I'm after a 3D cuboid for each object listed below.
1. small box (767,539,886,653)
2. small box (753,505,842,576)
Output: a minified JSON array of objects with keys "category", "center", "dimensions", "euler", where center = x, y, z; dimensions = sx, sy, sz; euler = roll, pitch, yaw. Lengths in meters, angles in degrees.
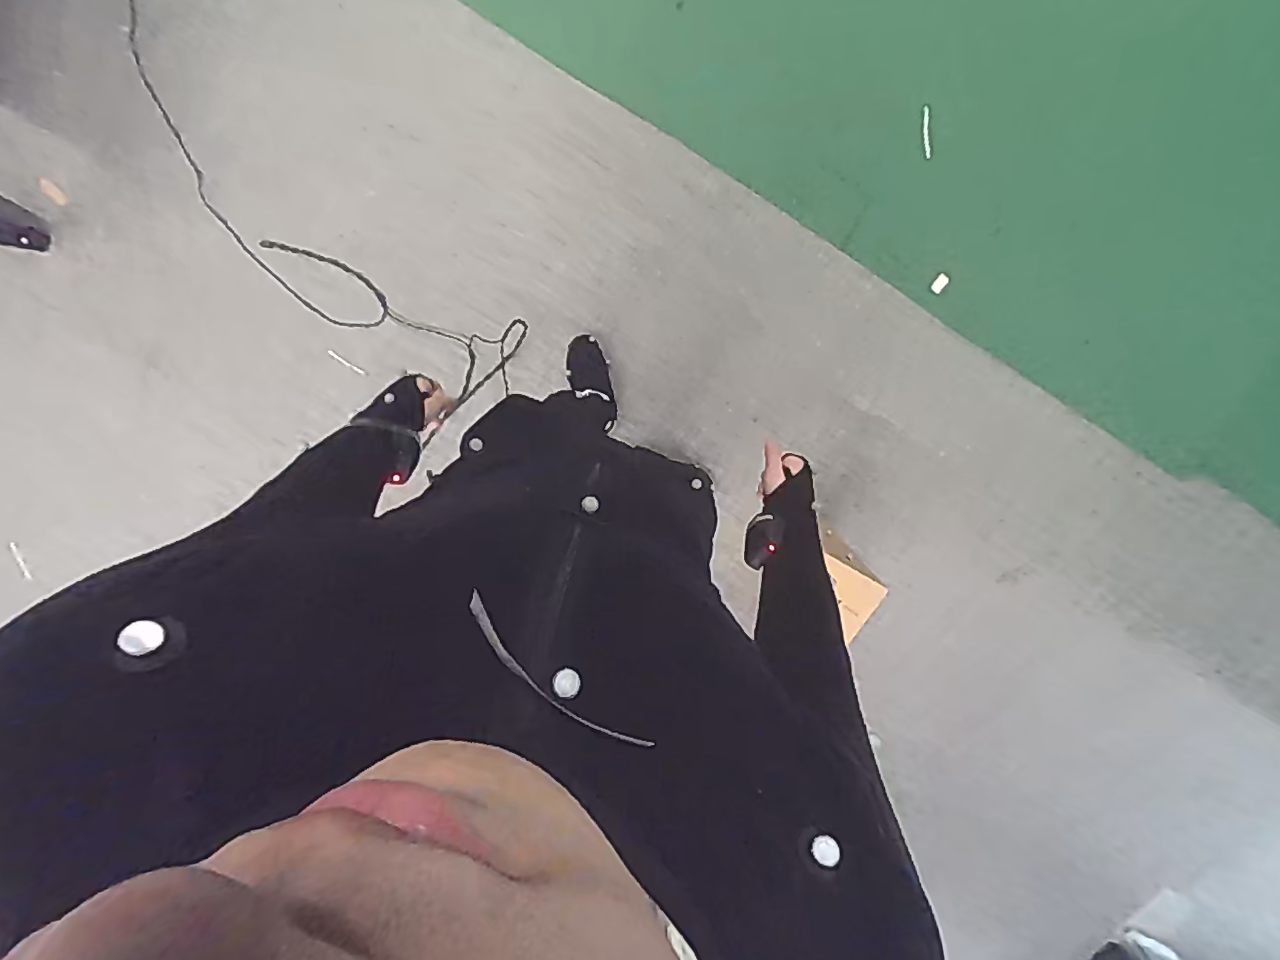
[{"category":"small box","center":[0.411,0.252,1.231],"dimensions":[0.179,0.176,0.168],"euler":[30,102,-4]},{"category":"small box","center":[0.441,0.194,1.553],"dimensions":[0.168,0.176,0.179],"euler":[32,102,-3]}]
